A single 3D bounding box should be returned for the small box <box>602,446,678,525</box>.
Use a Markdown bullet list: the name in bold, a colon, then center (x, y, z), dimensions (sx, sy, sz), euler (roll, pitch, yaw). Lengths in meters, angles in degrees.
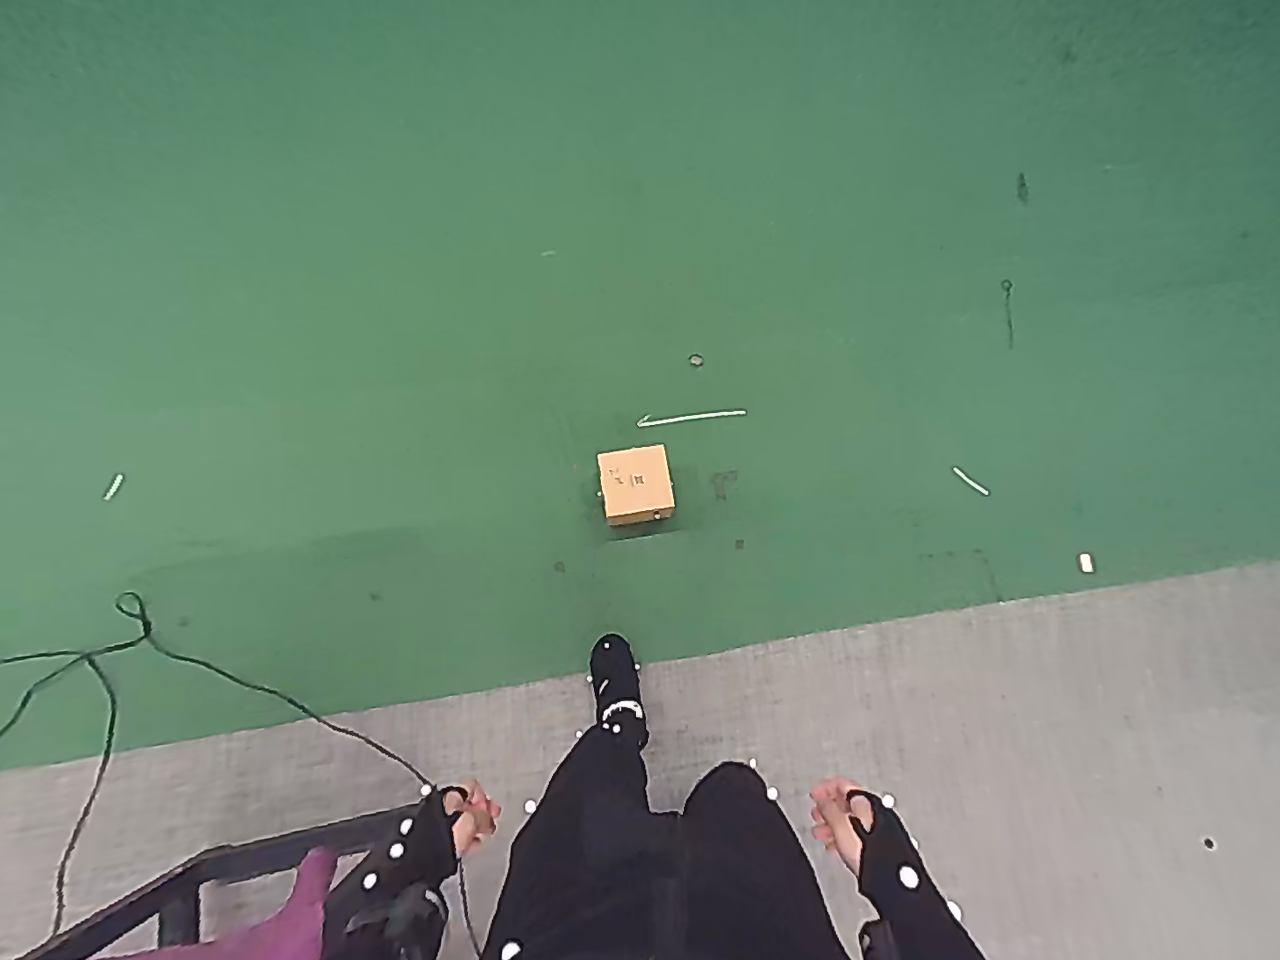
- **small box**: center (-0.004, 0.019, 1.439), dimensions (0.179, 0.176, 0.168), euler (-9, 77, -3)
